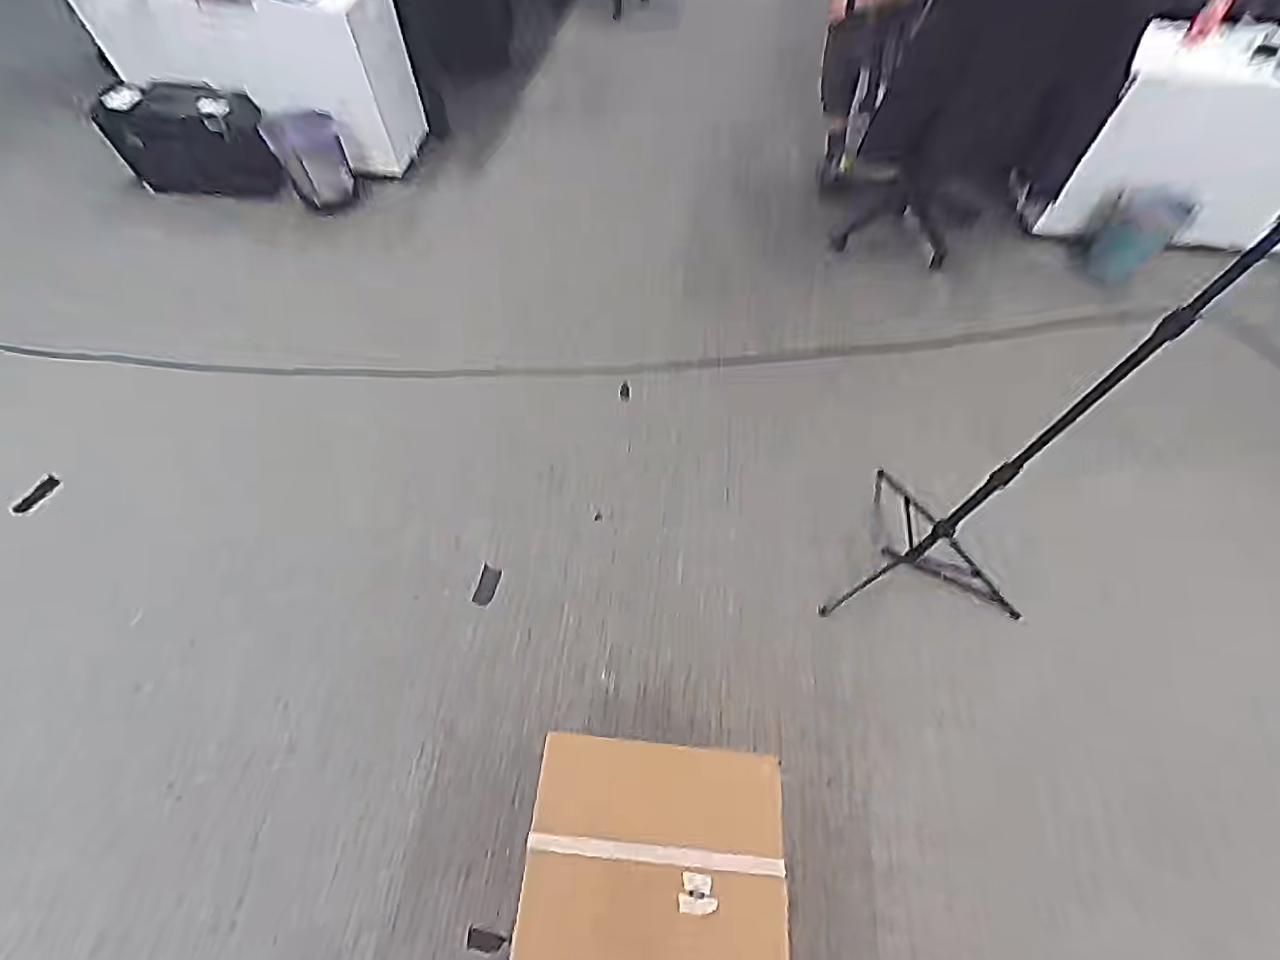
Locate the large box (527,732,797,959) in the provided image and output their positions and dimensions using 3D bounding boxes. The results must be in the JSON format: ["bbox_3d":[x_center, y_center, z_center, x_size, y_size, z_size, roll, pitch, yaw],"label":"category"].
[{"bbox_3d":[0.037,0.666,0.985,0.408,0.320,0.320,6,58,1],"label":"large box"}]
